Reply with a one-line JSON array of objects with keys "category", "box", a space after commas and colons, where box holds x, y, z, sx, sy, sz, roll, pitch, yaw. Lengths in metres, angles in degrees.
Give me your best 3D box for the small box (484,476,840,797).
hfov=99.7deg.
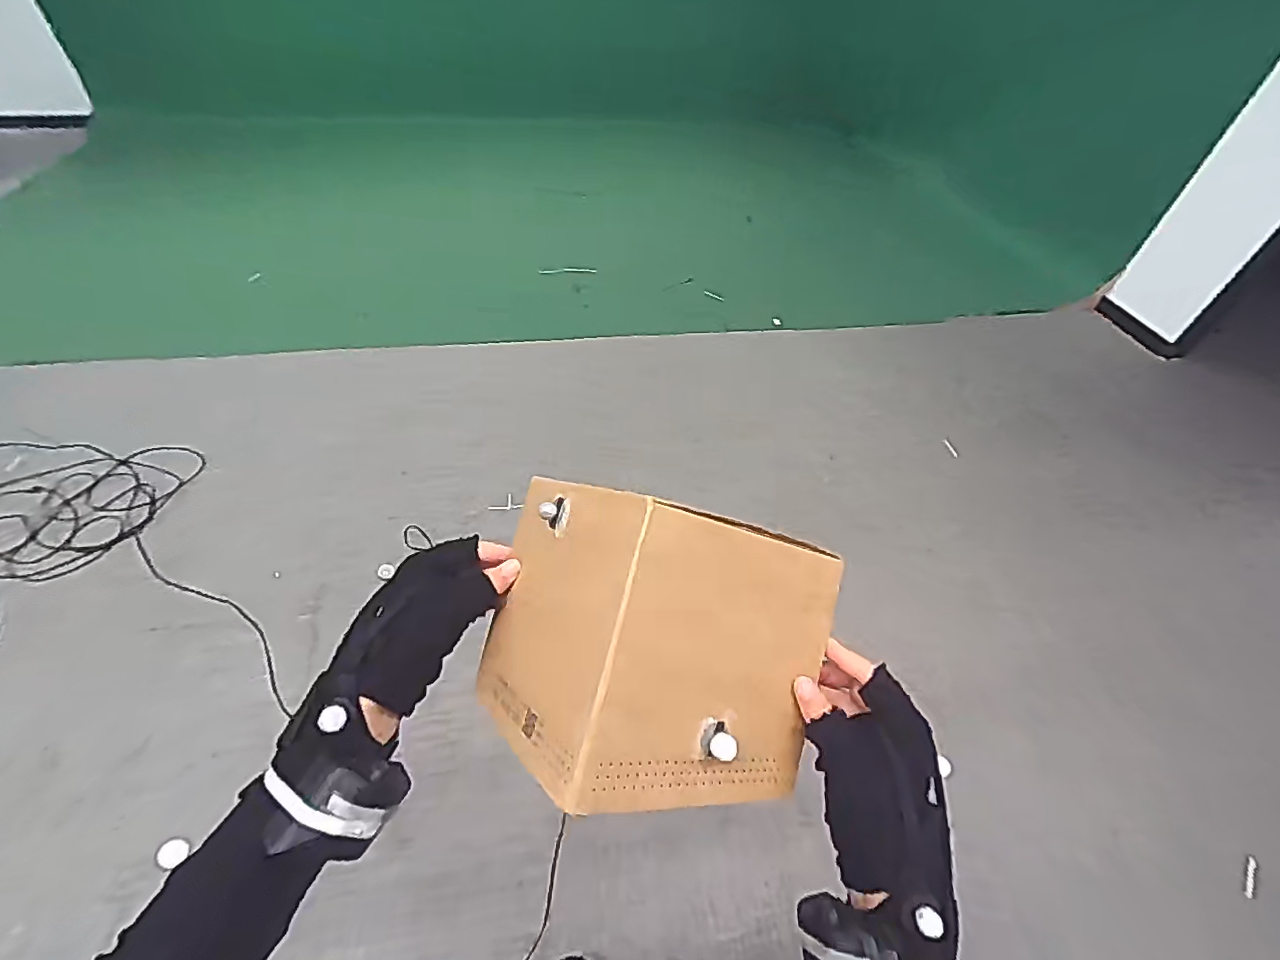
[{"category": "small box", "box": [0.011, 0.105, 0.397, 0.179, 0.168, 0.176, 19, 83, -33]}]
